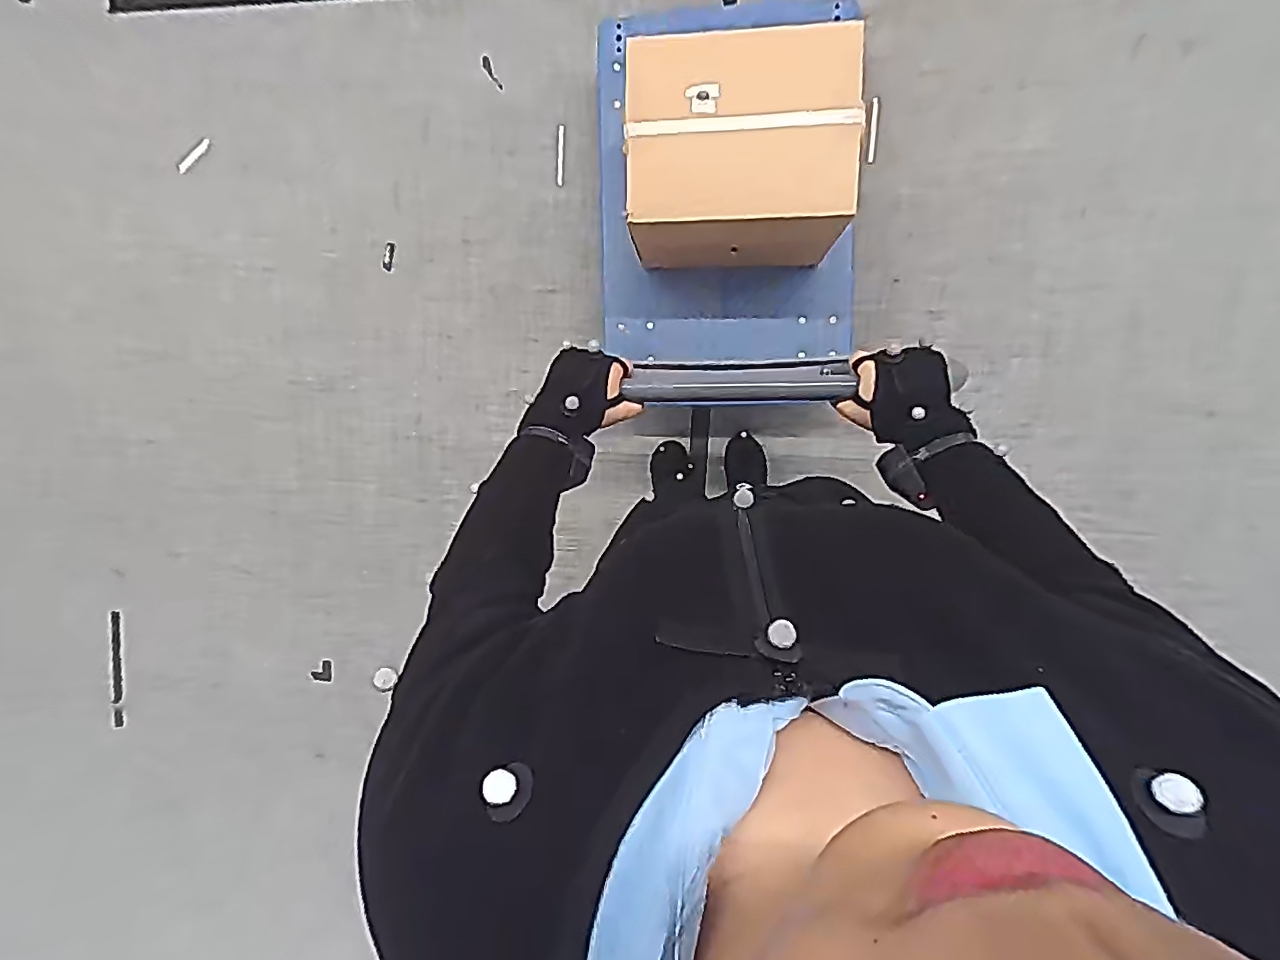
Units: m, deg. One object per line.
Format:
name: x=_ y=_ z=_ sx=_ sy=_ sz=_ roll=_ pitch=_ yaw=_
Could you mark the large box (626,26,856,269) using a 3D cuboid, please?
large box: x=0.194 y=-0.635 z=1.104 sx=0.408 sy=0.320 sz=0.320 roll=1 pitch=95 yaw=7
